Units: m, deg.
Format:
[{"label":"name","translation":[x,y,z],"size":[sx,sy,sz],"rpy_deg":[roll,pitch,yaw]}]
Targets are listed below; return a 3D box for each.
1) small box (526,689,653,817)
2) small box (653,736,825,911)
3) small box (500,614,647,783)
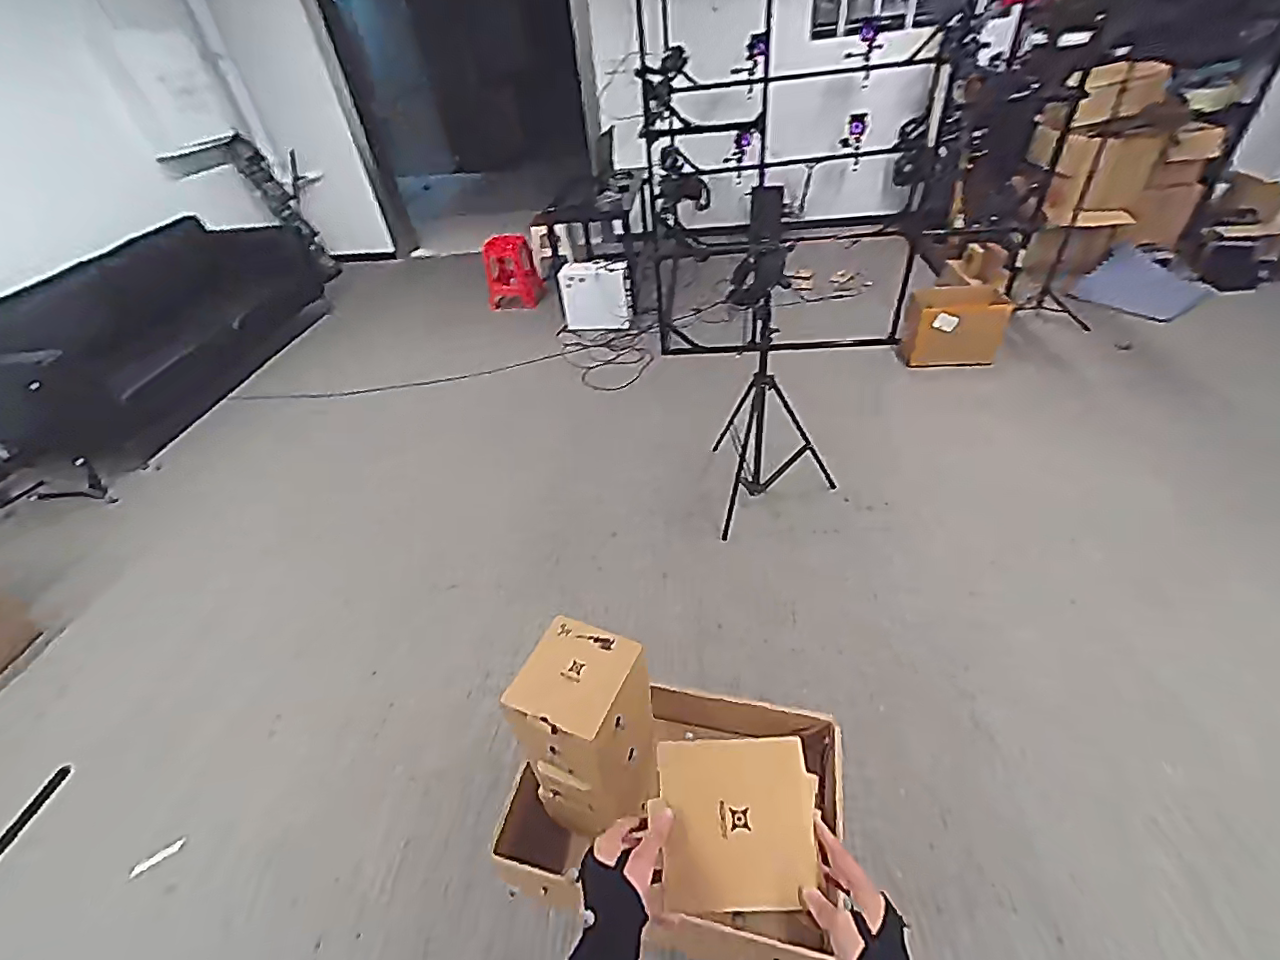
[{"label":"small box","translation":[-0.082,0.484,1.003],"size":[0.168,0.176,0.179],"rpy_deg":[11,42,20]},{"label":"small box","translation":[0.113,0.425,0.672],"size":[0.179,0.176,0.168],"rpy_deg":[-6,54,5]},{"label":"small box","translation":[-0.097,0.361,0.894],"size":[0.168,0.176,0.179],"rpy_deg":[14,44,23]}]
